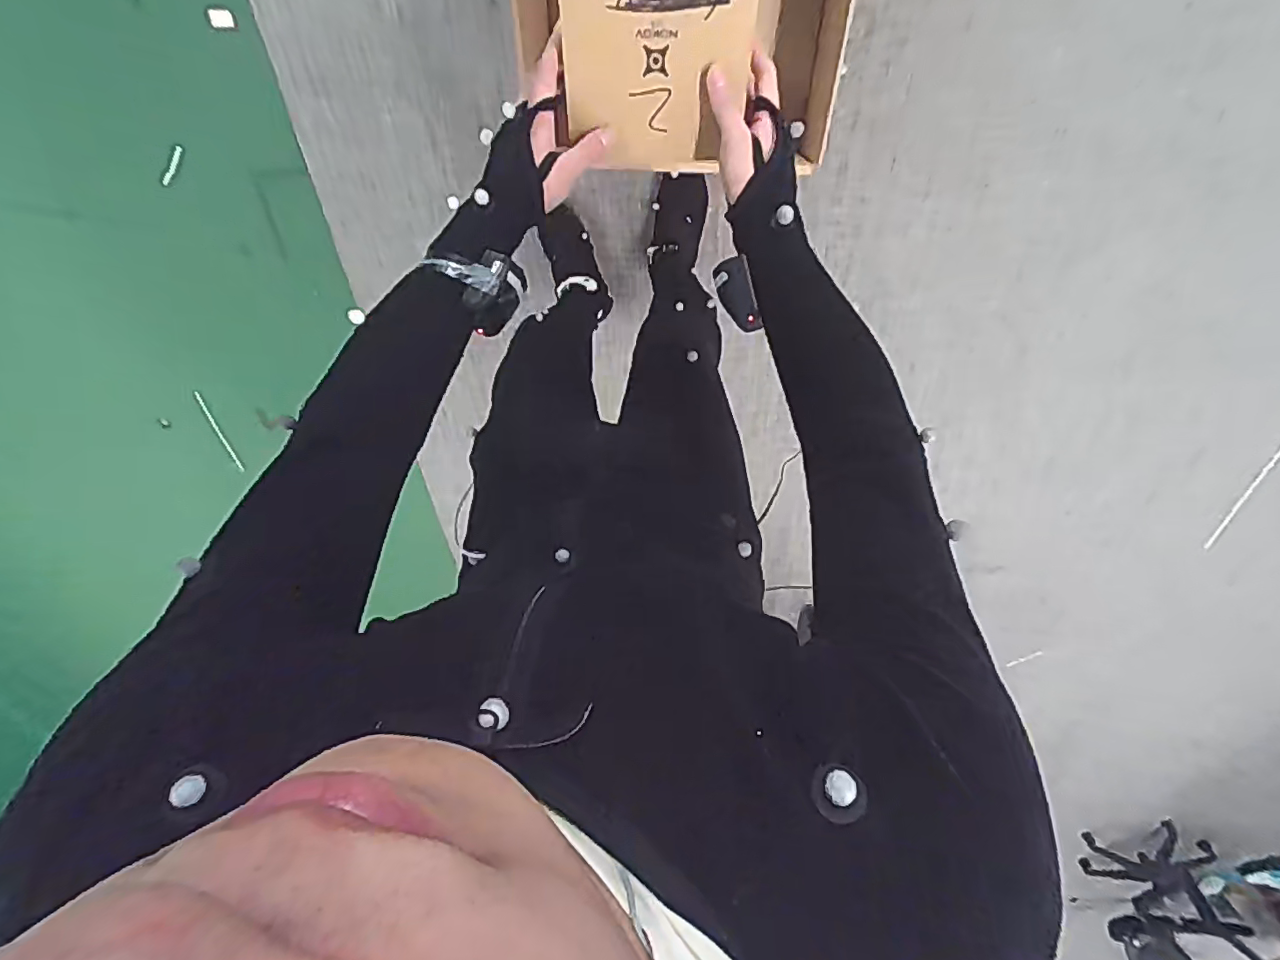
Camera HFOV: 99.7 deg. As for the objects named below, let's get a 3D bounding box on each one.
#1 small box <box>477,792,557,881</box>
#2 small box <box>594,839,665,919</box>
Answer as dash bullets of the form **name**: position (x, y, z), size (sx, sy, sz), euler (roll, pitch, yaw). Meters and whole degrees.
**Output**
- **small box**: position (-0.348, 1.025, 1.562), size (0.179, 0.176, 0.168), euler (3, 130, 3)
- **small box**: position (-0.029, 1.260, 1.712), size (0.168, 0.176, 0.179), euler (-15, 125, 18)
